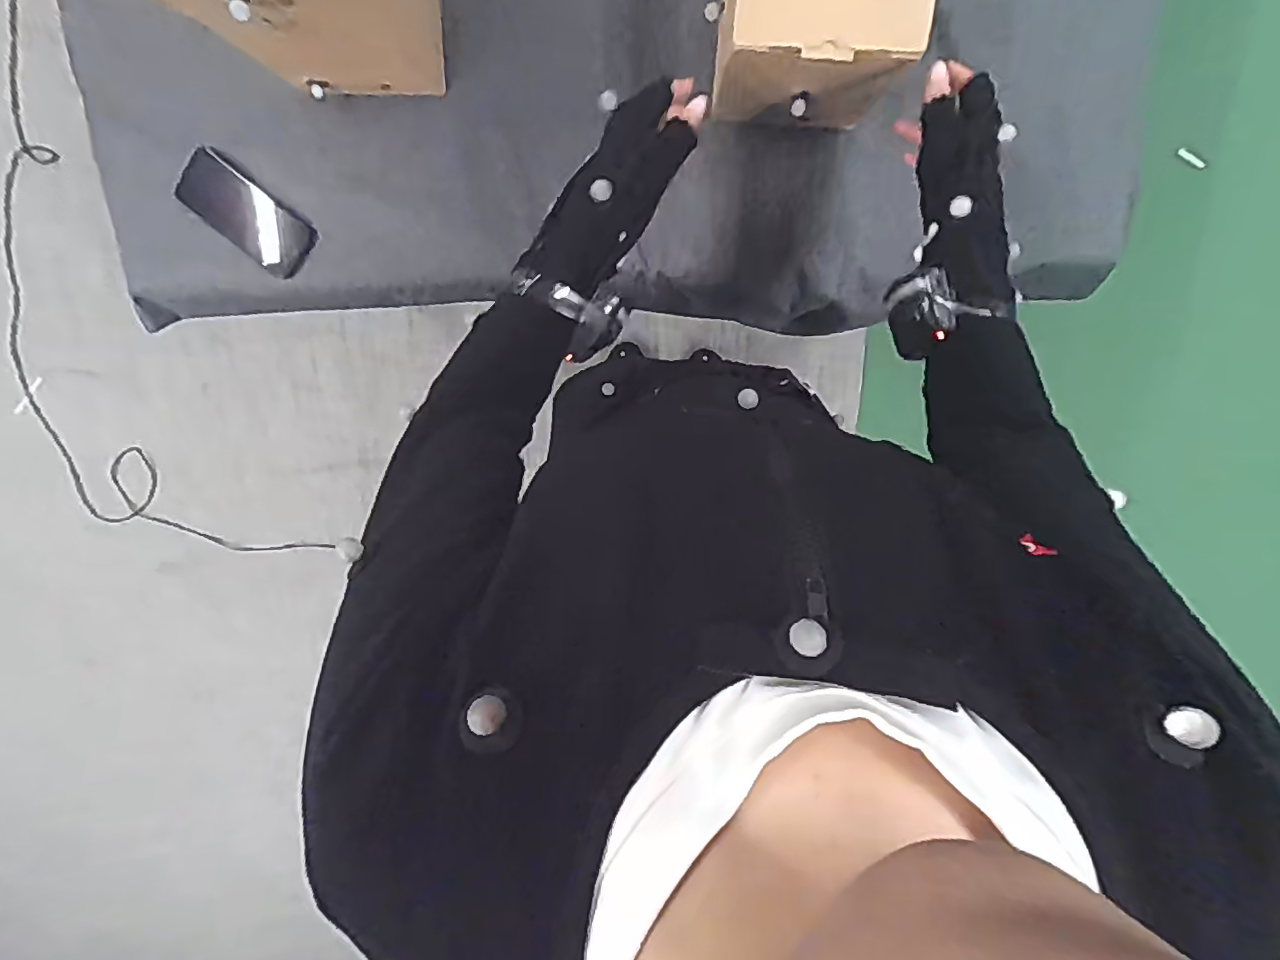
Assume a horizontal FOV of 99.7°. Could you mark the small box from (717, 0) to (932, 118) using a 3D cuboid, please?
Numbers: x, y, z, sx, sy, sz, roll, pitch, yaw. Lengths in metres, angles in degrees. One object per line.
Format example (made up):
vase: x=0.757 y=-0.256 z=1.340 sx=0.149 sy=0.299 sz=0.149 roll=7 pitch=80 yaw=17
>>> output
small box: x=0.167 y=-0.469 z=0.509 sx=0.168 sy=0.176 sz=0.179 roll=4 pitch=106 yaw=1

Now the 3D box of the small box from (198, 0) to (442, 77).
small box: x=-0.298 y=-0.513 z=0.509 sx=0.168 sy=0.176 sz=0.179 roll=2 pitch=105 yaw=1
